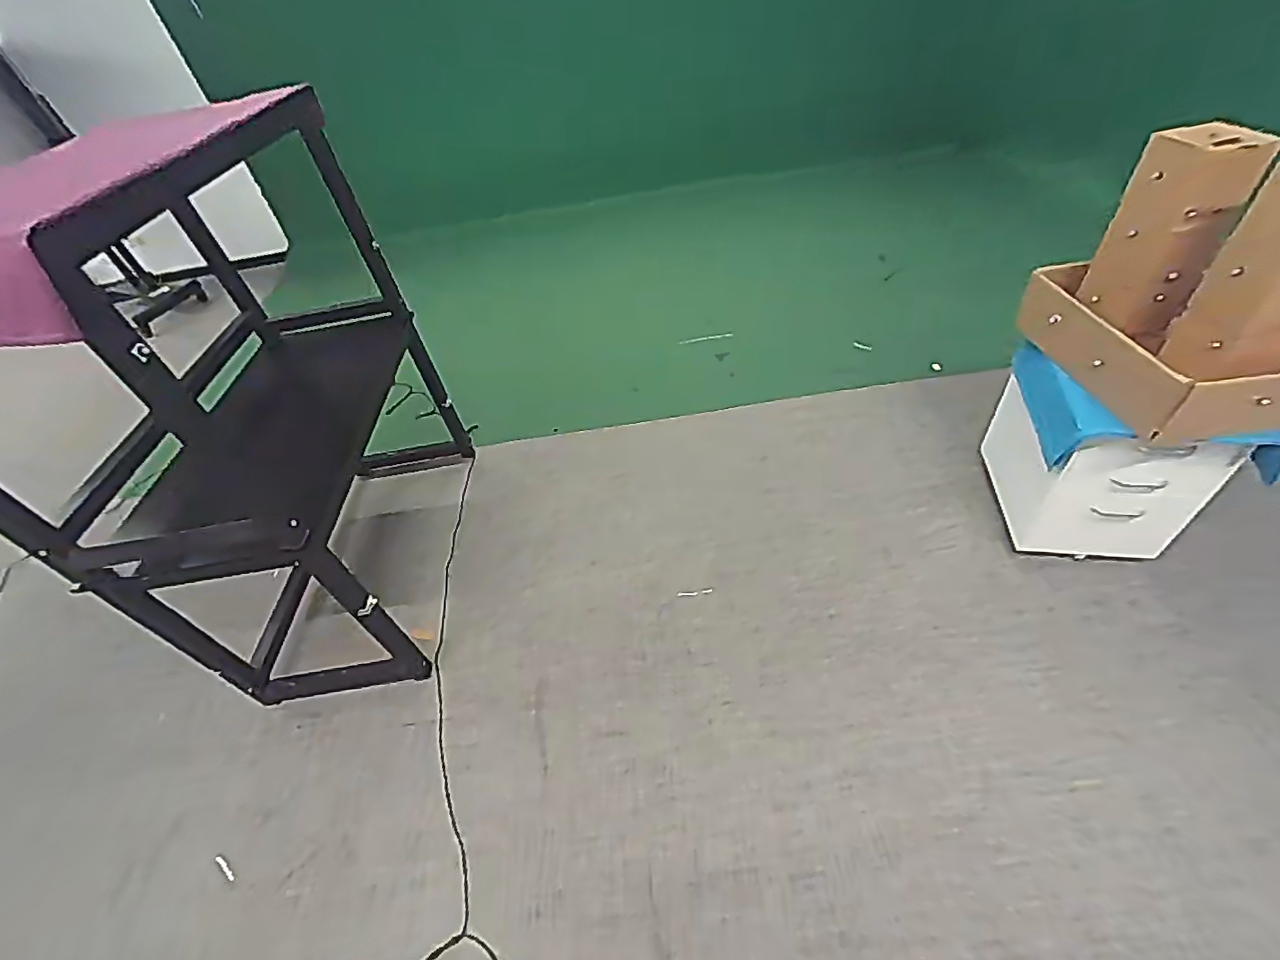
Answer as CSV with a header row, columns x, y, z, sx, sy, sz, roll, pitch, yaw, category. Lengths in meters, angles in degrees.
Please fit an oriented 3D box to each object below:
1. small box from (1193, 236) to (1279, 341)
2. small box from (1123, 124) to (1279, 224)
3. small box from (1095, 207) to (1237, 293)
x,y,z,sx,sy,sz,roll,pitch,yaw,category
1.446,-0.438,1.233,0.168,0.176,0.179,-5,45,5,small box
1.351,-0.737,1.315,0.168,0.176,0.179,-8,44,1,small box
1.369,-0.617,1.425,0.168,0.176,0.179,-11,45,-1,small box
